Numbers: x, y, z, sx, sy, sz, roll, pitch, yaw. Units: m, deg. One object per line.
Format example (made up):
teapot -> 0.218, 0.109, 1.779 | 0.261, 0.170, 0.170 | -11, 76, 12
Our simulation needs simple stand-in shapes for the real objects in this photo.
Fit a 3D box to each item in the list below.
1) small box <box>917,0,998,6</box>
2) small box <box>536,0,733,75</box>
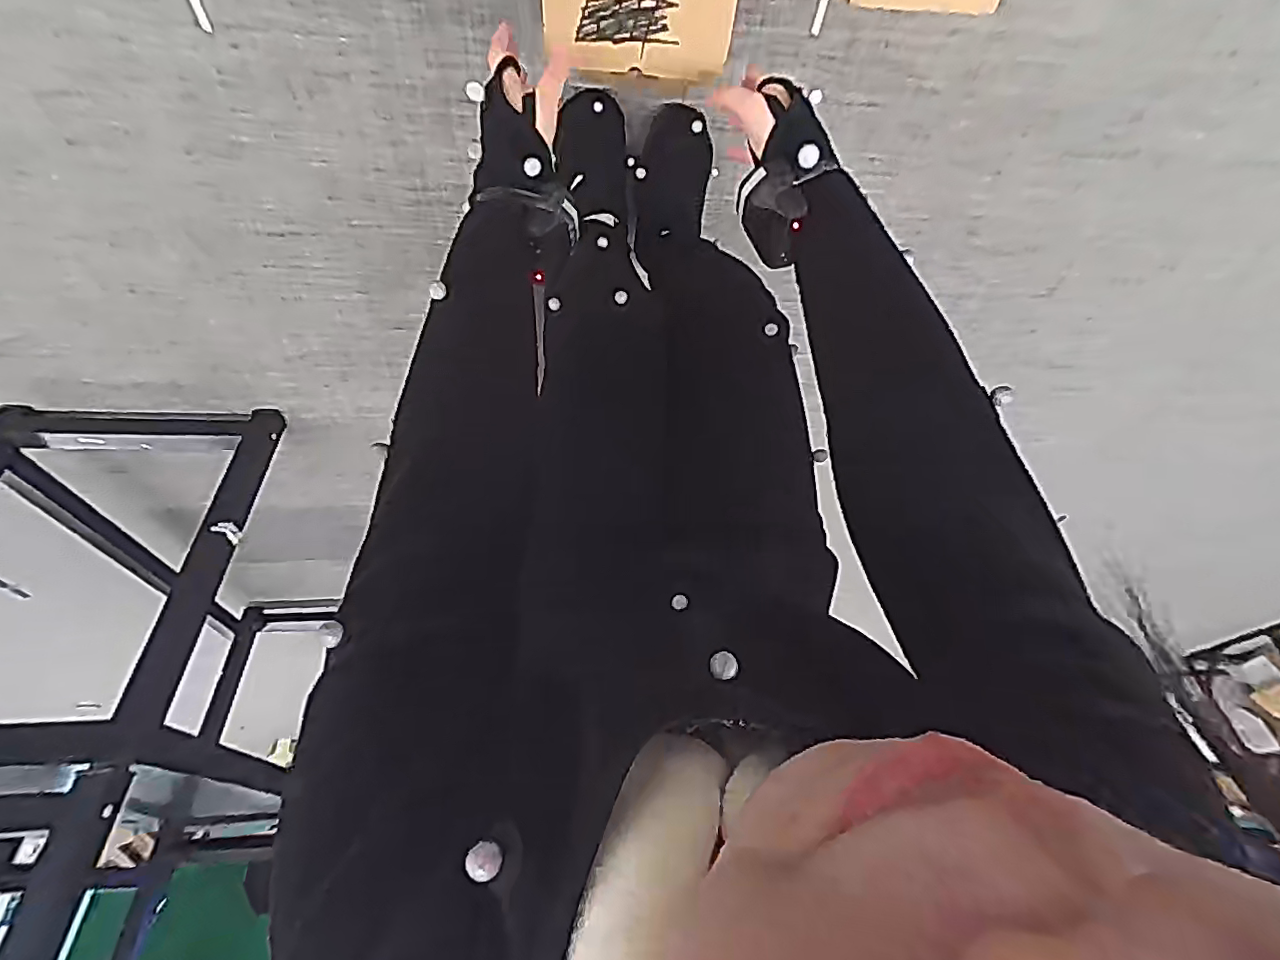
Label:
small box -> 0.312, -0.639, 0.572 | 0.179, 0.176, 0.168 | -1, 145, -7
small box -> -0.004, -0.487, 0.460 | 0.168, 0.176, 0.179 | 0, 144, -8
